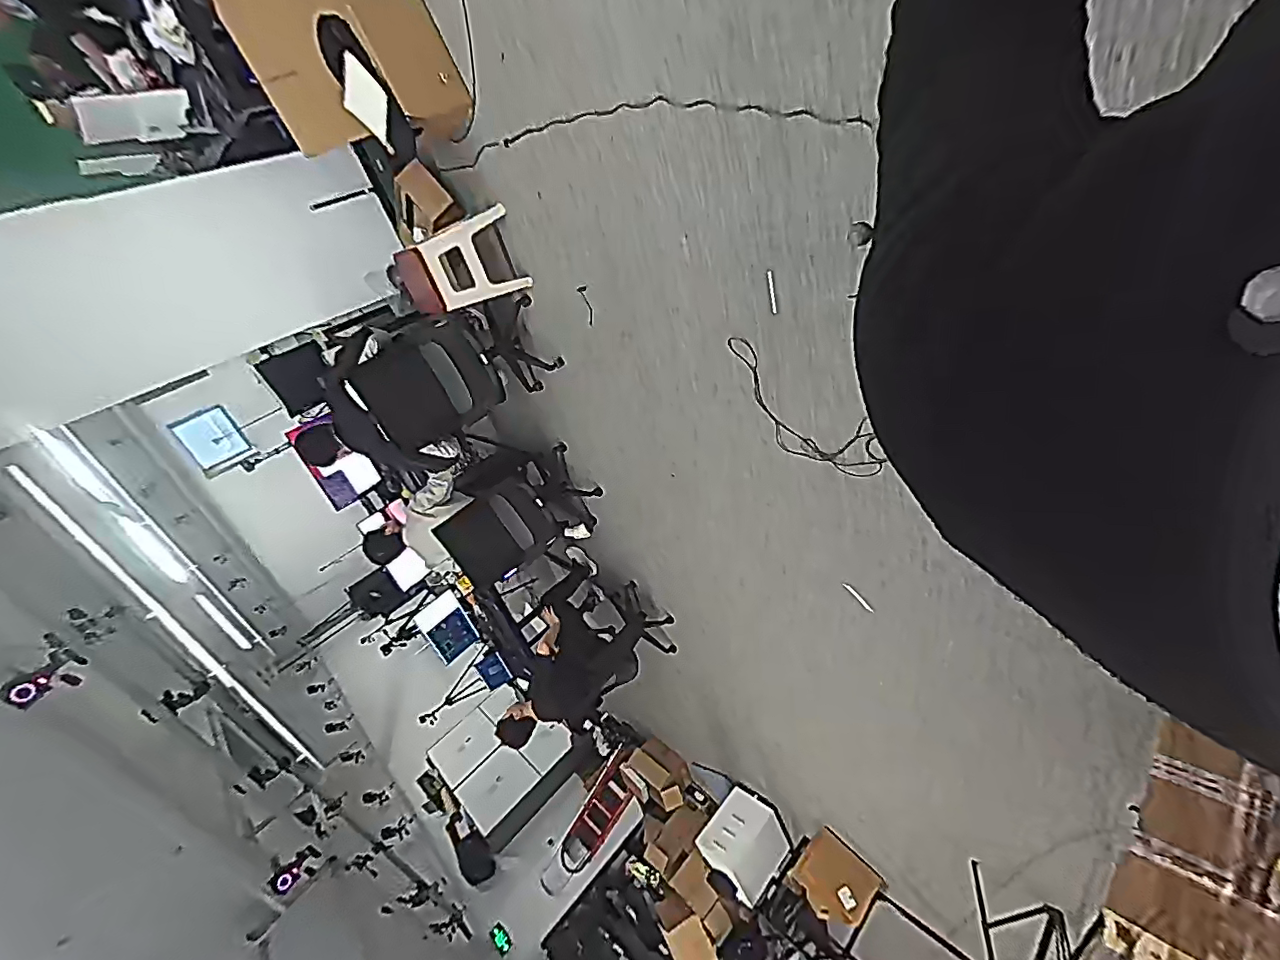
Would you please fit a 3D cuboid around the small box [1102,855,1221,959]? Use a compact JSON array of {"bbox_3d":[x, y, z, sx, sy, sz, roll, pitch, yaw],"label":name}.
[{"bbox_3d":[1.244,1.049,1.294,0.179,0.176,0.168,11,128,50],"label":"small box"}]
